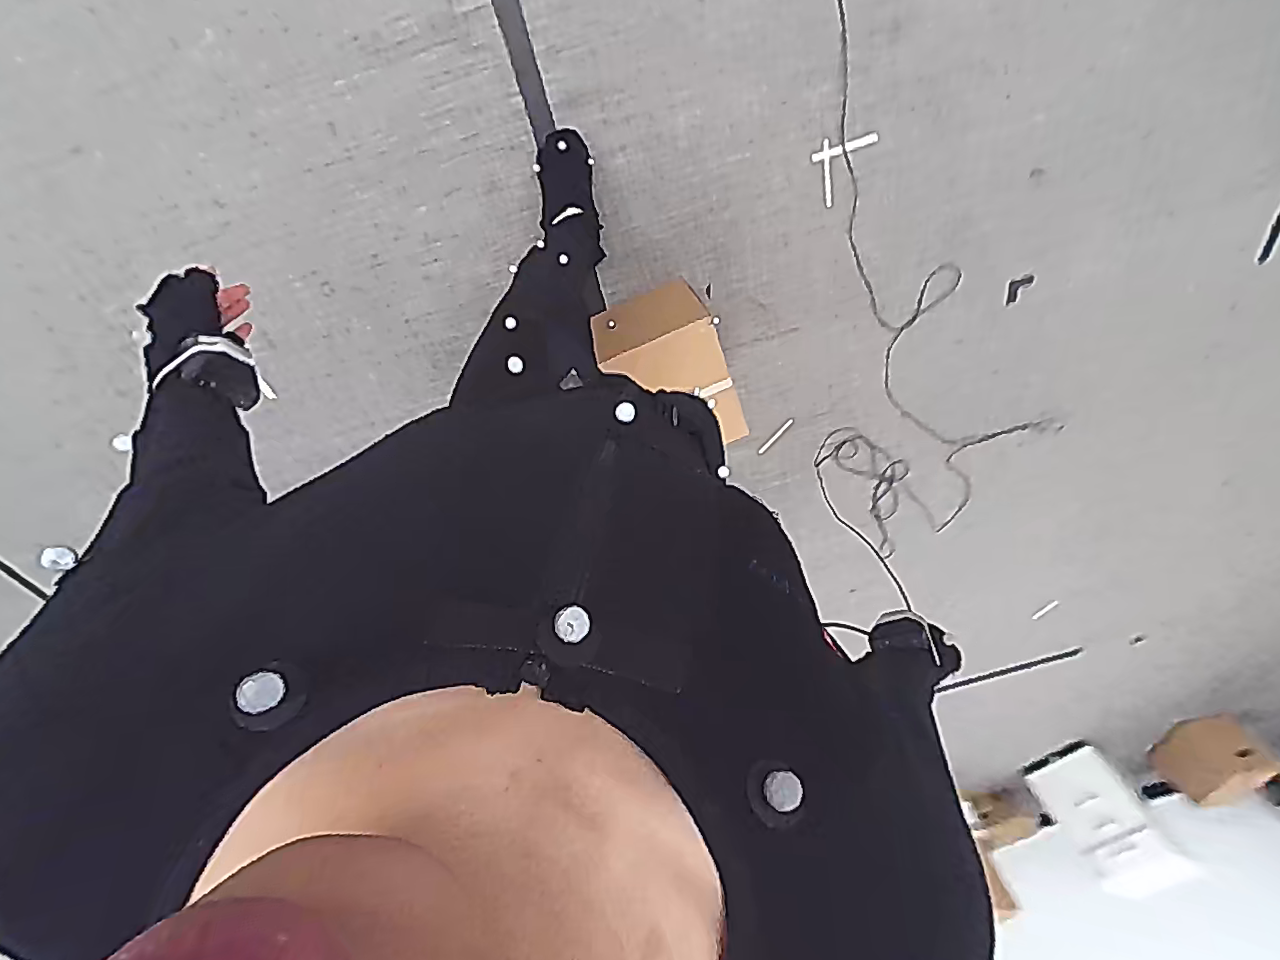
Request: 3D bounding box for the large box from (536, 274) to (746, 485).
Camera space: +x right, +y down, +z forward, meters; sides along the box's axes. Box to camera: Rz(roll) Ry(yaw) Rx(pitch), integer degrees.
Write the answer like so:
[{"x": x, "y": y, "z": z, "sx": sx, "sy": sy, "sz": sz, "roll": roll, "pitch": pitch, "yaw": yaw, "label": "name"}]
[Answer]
[{"x": -0.006, "y": -0.254, "z": 1.331, "sx": 0.408, "sy": 0.320, "sz": 0.320, "roll": -22, "pitch": 125, "yaw": 6, "label": "large box"}]
